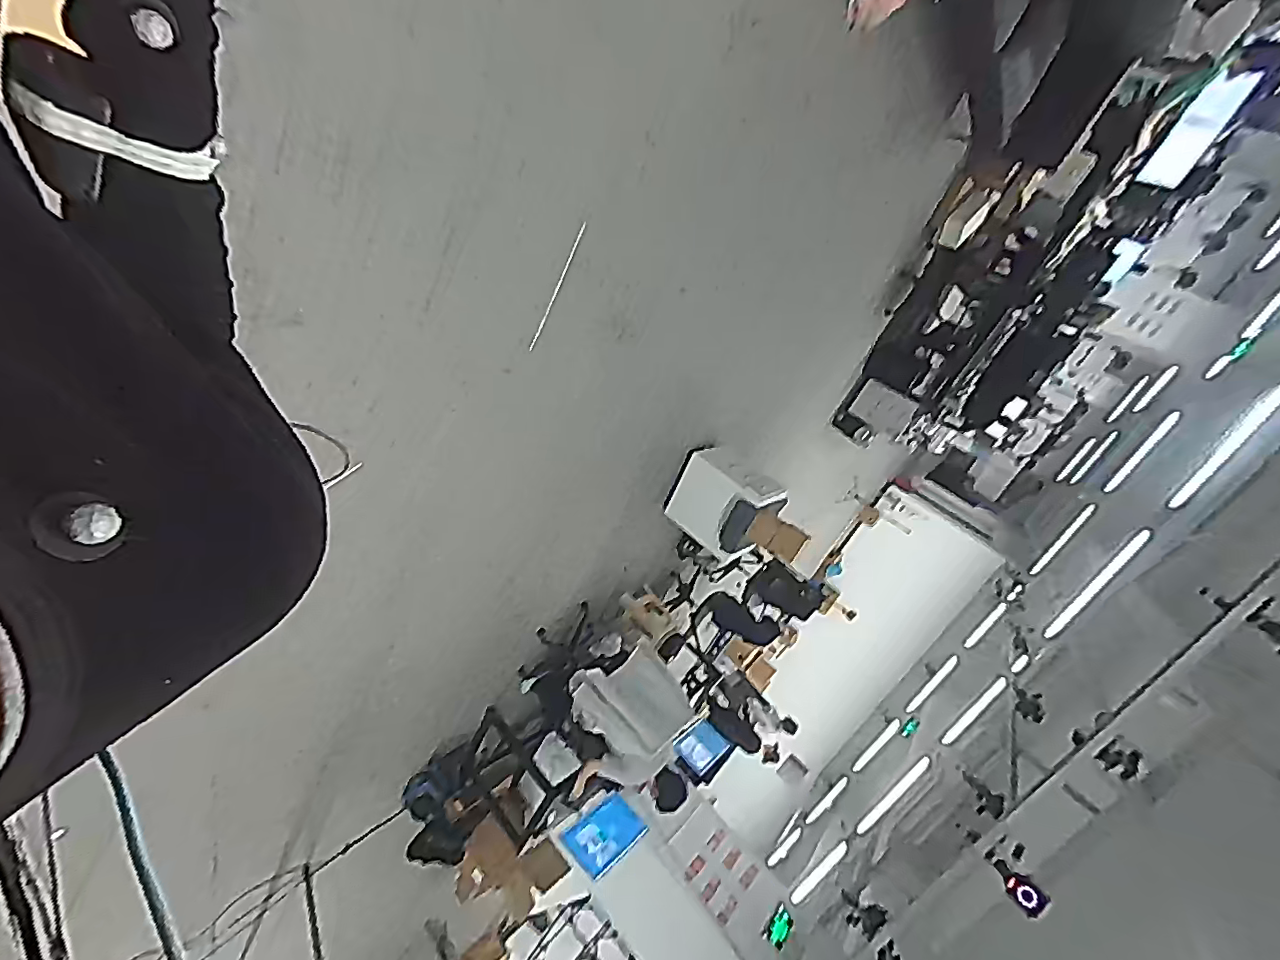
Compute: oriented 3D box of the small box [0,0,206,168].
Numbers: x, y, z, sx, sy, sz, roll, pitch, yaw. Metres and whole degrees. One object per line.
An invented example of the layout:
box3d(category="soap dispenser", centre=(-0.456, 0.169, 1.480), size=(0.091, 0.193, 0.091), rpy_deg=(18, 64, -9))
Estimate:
box3d(category="small box", centre=(-0.685, -0.537, 0.676), size=(0.168, 0.176, 0.179), rpy_deg=(-1, 124, -56))
